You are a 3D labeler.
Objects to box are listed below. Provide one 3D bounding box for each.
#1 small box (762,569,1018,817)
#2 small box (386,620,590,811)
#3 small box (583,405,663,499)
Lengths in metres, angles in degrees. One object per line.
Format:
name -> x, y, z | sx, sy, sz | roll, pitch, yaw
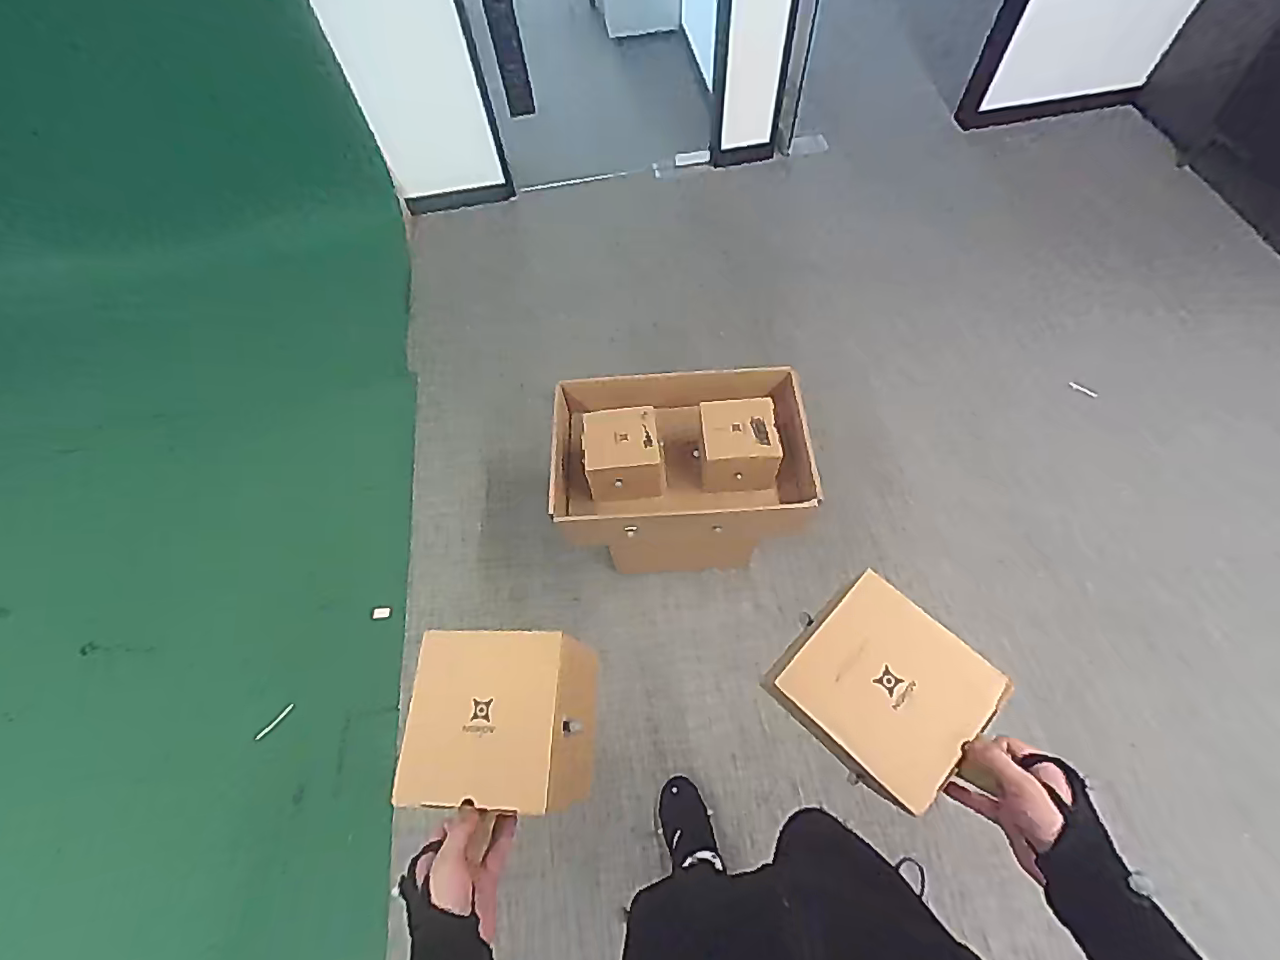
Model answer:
small box -> 0.260, 0.228, 0.610 | 0.168, 0.176, 0.179 | -44, 71, -11
small box -> -0.158, 0.270, 0.632 | 0.168, 0.176, 0.179 | -1, 66, 8
small box -> -0.040, -0.063, 1.329 | 0.179, 0.176, 0.168 | -6, 62, 1
